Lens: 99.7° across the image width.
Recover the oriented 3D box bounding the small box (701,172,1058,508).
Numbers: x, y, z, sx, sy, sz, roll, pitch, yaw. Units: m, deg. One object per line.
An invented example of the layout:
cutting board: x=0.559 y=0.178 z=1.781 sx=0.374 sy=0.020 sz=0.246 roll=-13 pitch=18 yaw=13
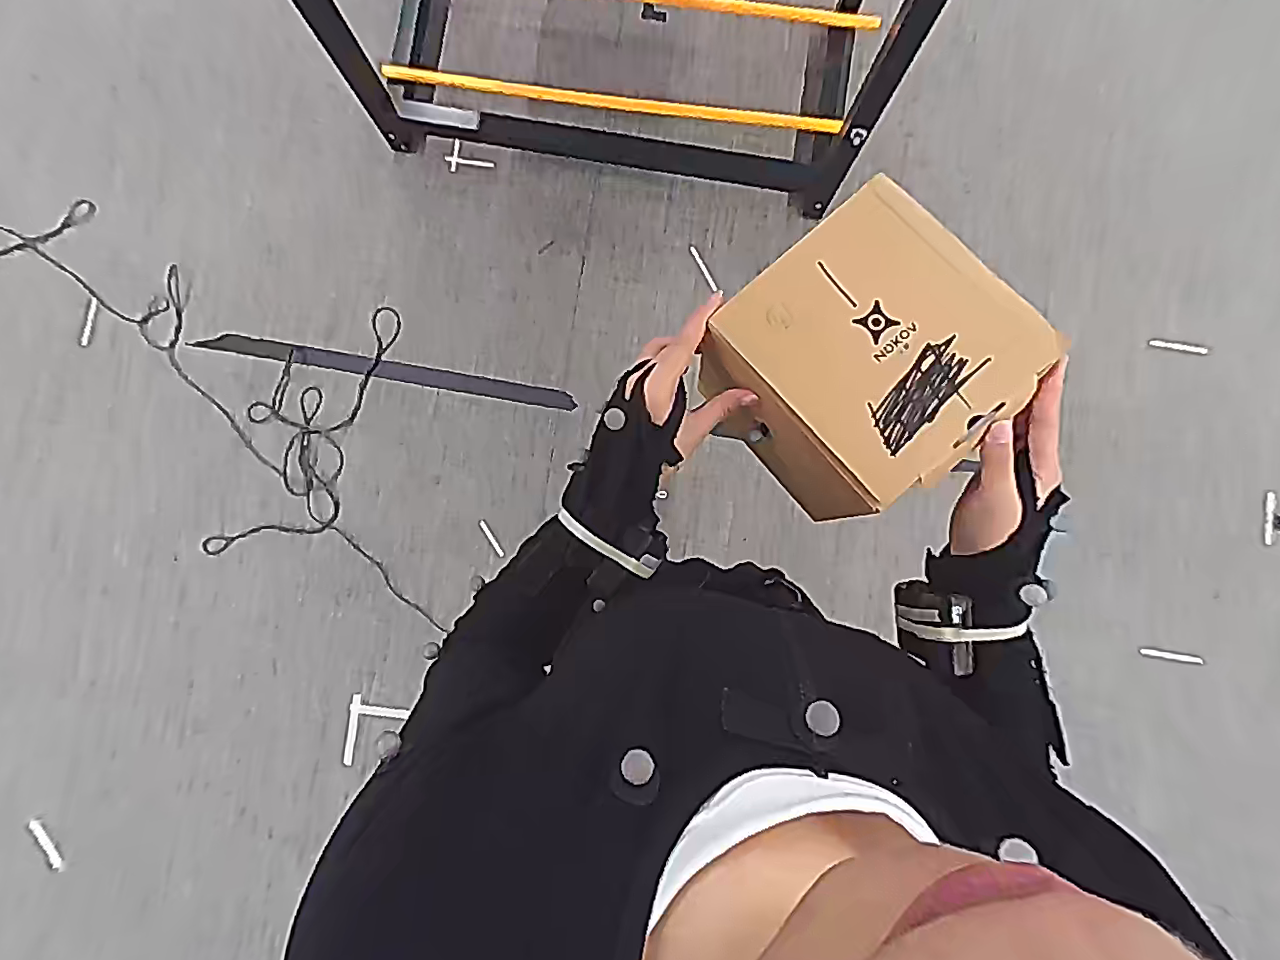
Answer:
small box: x=0.167 y=-0.091 z=0.443 sx=0.168 sy=0.176 sz=0.179 roll=-40 pitch=82 yaw=-2
